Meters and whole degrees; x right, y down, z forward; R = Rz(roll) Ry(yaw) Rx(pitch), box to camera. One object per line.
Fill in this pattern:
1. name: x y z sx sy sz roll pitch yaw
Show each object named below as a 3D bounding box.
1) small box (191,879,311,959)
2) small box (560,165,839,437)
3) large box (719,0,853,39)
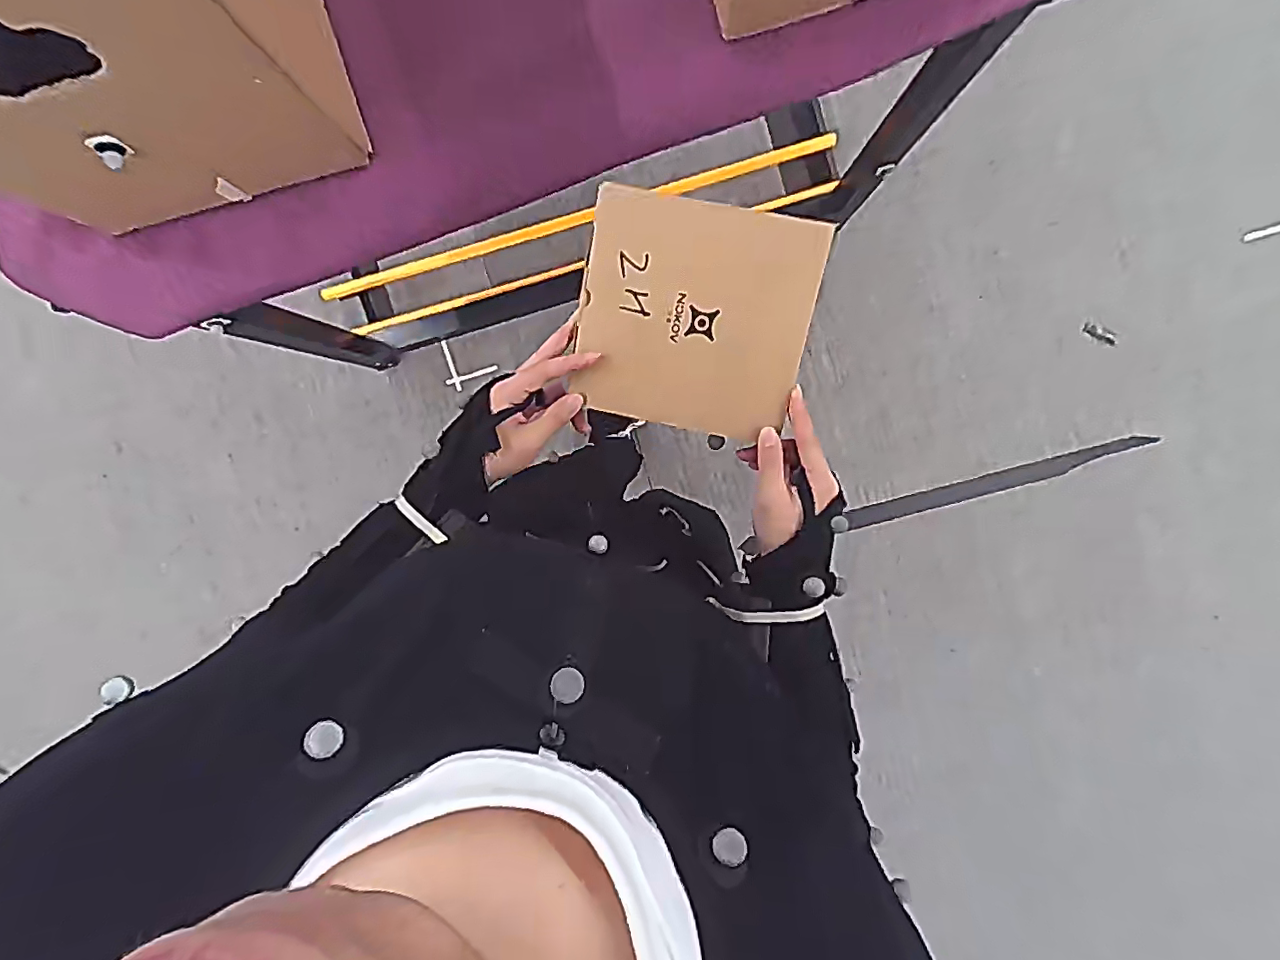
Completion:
1. small box: -0.978 1.172 1.377 0.168 0.176 0.179 -10 94 1
2. small box: 0.047 -0.145 0.476 0.179 0.176 0.168 13 103 4
3. large box: 0.177 -0.690 0.417 0.320 0.320 0.408 -17 93 2
